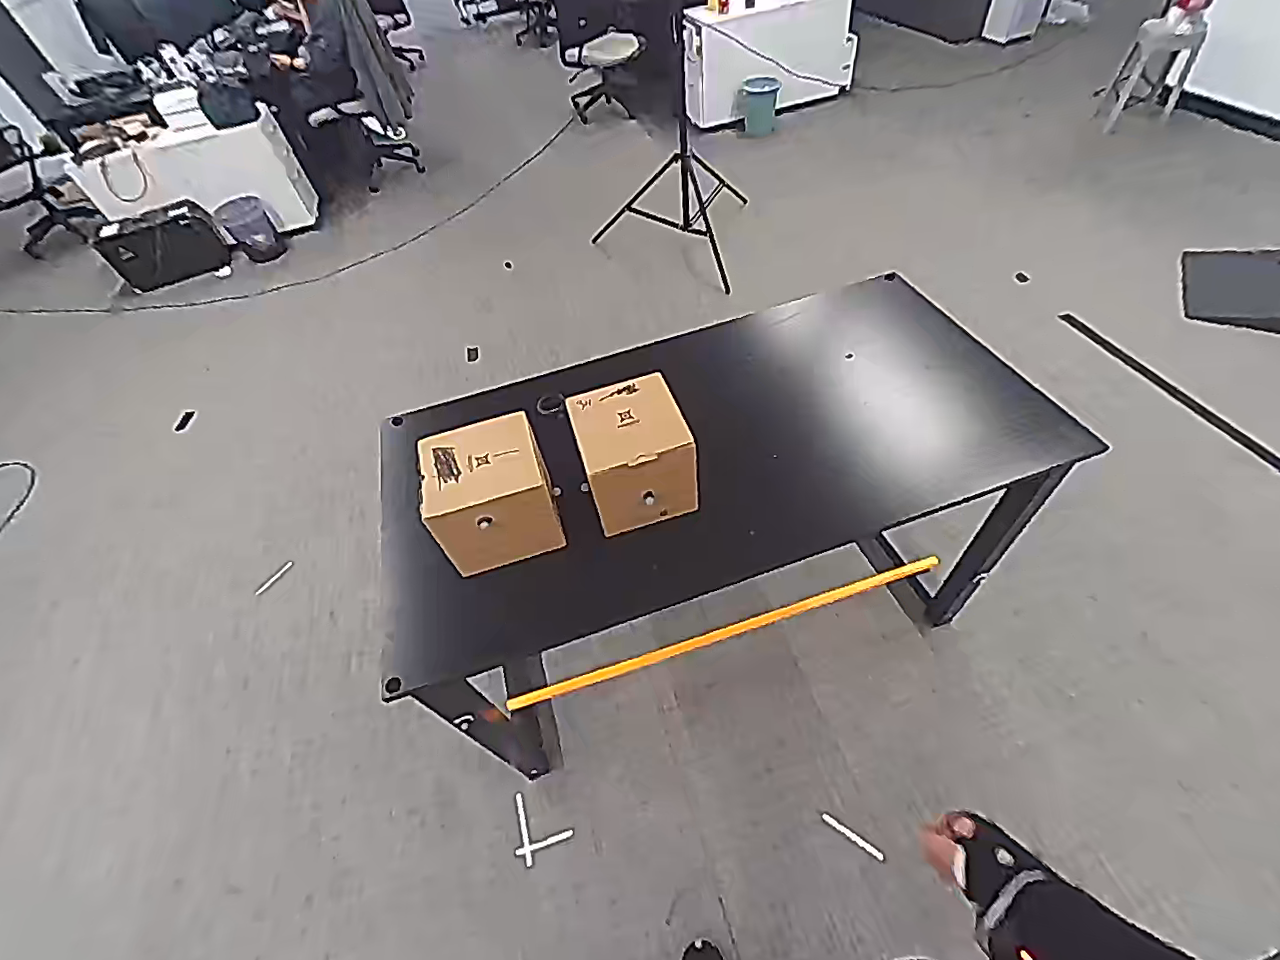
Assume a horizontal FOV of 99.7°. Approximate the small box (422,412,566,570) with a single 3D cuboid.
[{"bbox_3d":[-0.234,0.023,0.881,0.179,0.176,0.168,-16,52,-6],"label":"small box"}]
